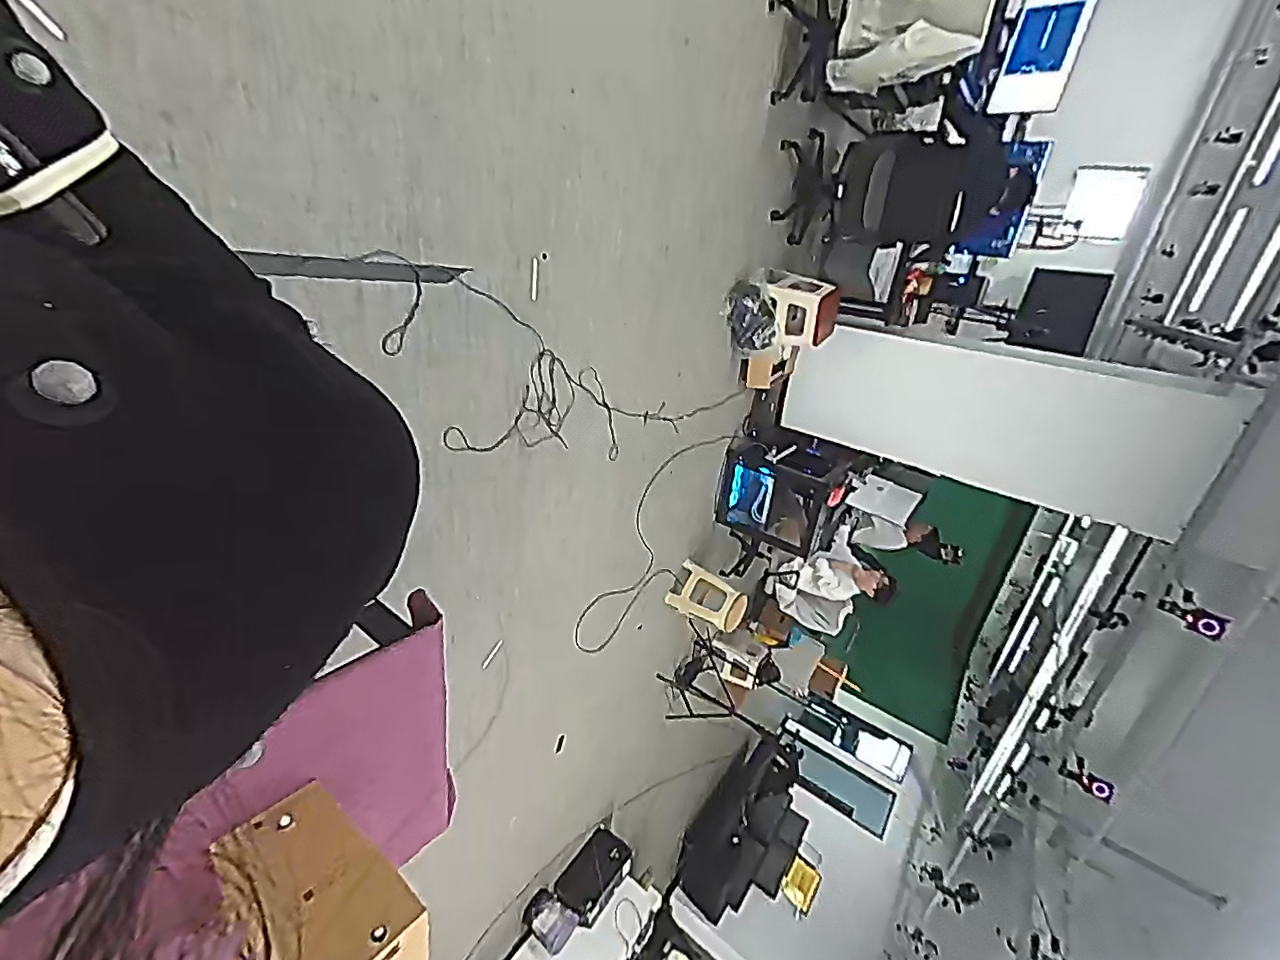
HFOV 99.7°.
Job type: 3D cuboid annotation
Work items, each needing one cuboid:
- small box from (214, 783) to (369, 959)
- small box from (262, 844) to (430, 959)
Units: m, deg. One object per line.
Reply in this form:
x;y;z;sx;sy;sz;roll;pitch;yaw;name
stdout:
-0.575;0.659;0.904;0.168;0.176;0.179;-21;126;-51;small box
-0.444;0.713;0.822;0.168;0.176;0.179;-20;126;-52;small box
